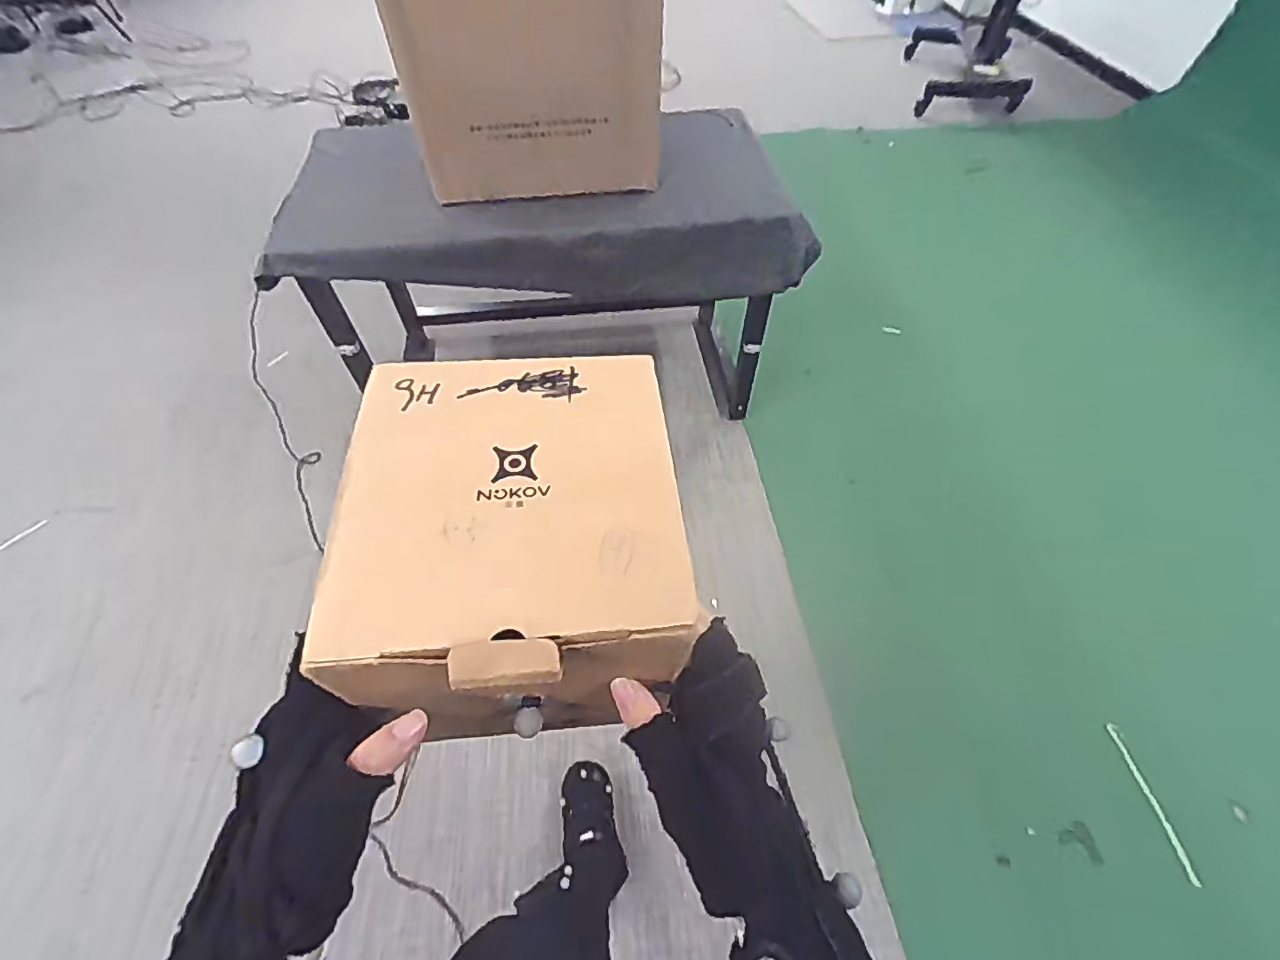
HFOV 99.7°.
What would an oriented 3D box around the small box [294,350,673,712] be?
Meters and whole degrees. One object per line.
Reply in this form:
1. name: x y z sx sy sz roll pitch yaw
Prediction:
1. small box: -0.075 0.041 0.343 0.168 0.176 0.179 -2 56 -6
